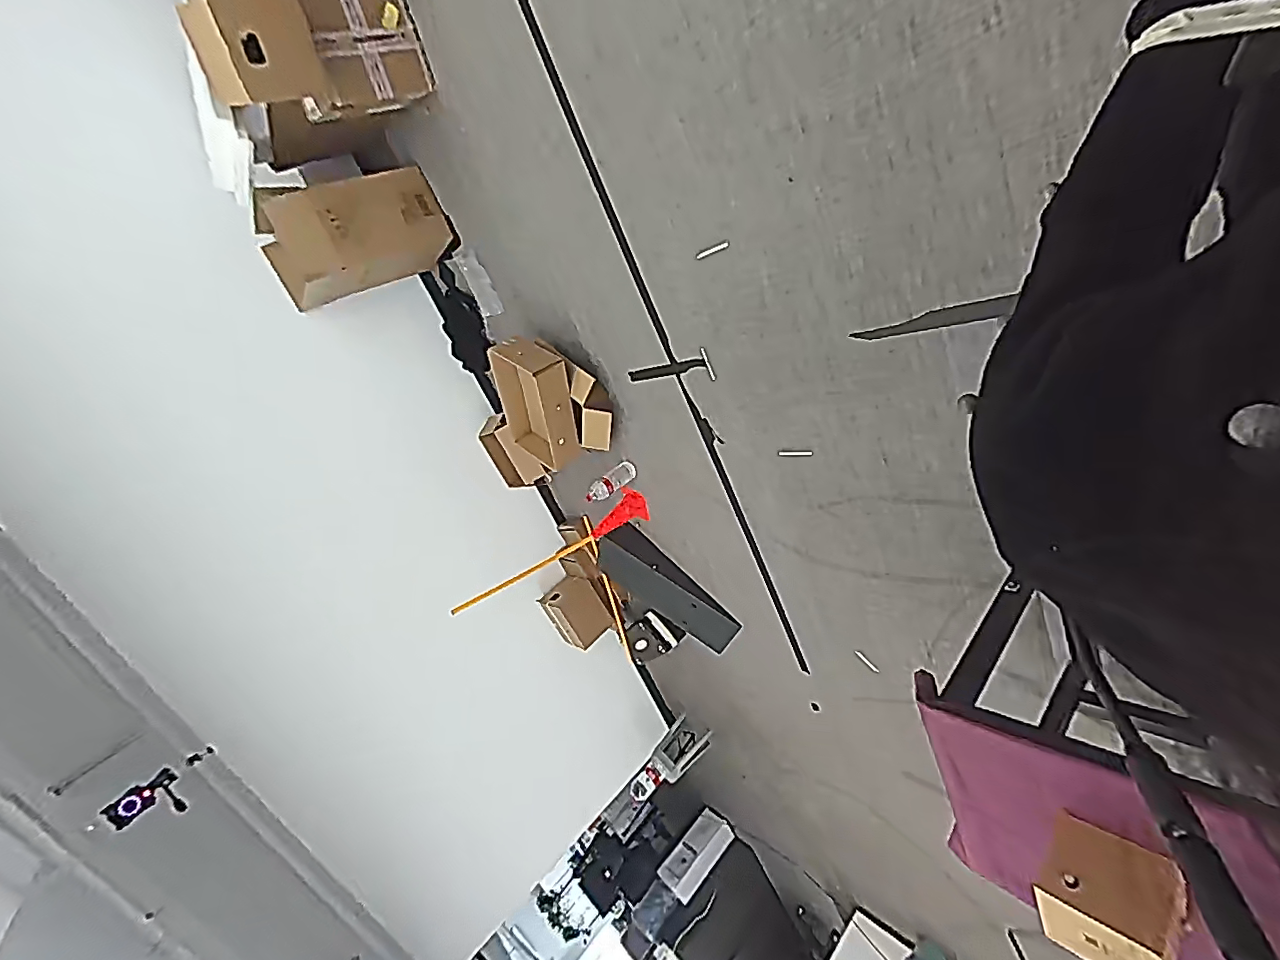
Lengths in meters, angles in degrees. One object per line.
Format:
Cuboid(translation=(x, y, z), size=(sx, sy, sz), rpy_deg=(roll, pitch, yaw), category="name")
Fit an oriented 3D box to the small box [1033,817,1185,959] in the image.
Cuboid(translation=(0.856, 0.763, 0.987), size=(0.179, 0.176, 0.168), rpy_deg=(5, 127, 52), category="small box")
